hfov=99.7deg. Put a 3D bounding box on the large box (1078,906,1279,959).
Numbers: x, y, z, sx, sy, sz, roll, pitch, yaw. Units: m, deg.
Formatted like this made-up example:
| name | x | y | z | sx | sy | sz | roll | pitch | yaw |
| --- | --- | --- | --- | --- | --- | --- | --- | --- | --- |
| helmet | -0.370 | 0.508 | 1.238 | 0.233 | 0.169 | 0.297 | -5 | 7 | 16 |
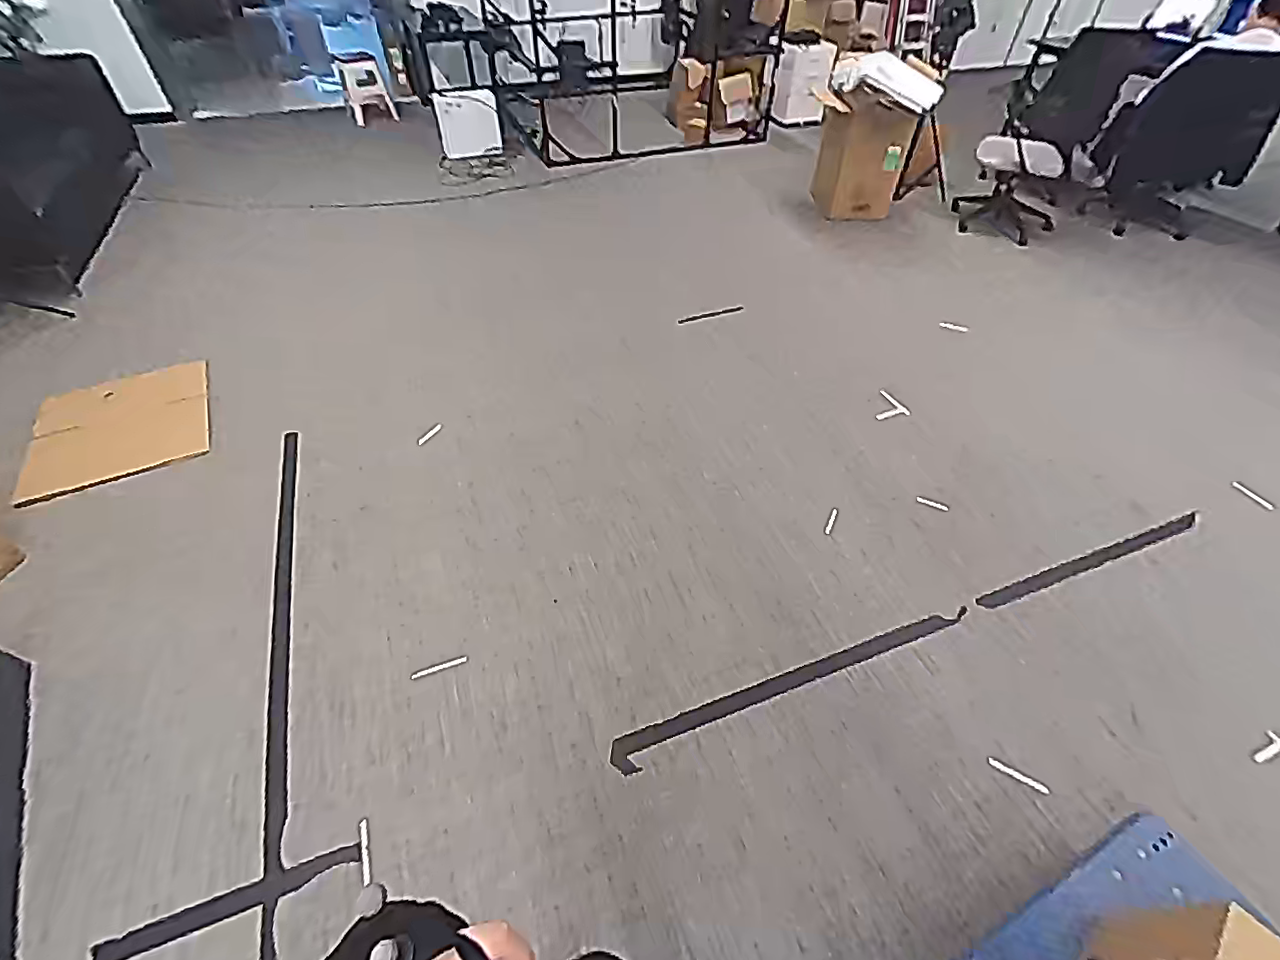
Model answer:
| name | x | y | z | sx | sy | sz | roll | pitch | yaw |
| --- | --- | --- | --- | --- | --- | --- | --- | --- | --- |
| large box | 0.892 | 0.915 | 0.754 | 0.320 | 0.320 | 0.408 | -33 | 57 | -27 |
